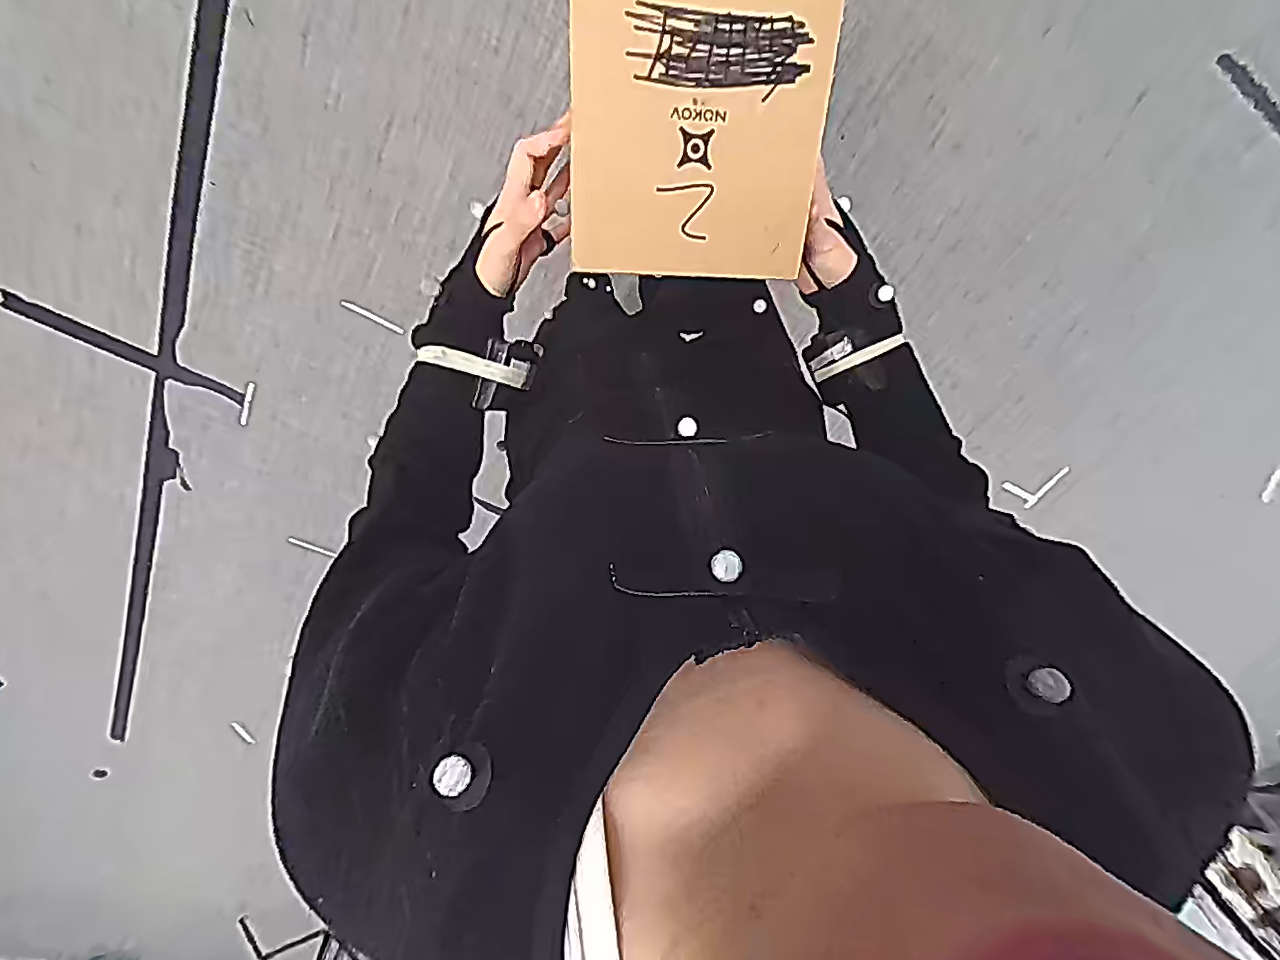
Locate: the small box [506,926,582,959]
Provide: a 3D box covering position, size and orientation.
[{"bbox_3d":[-0.287,1.443,1.583,0.179,0.176,0.168,31,116,-22],"label":"small box"}]
